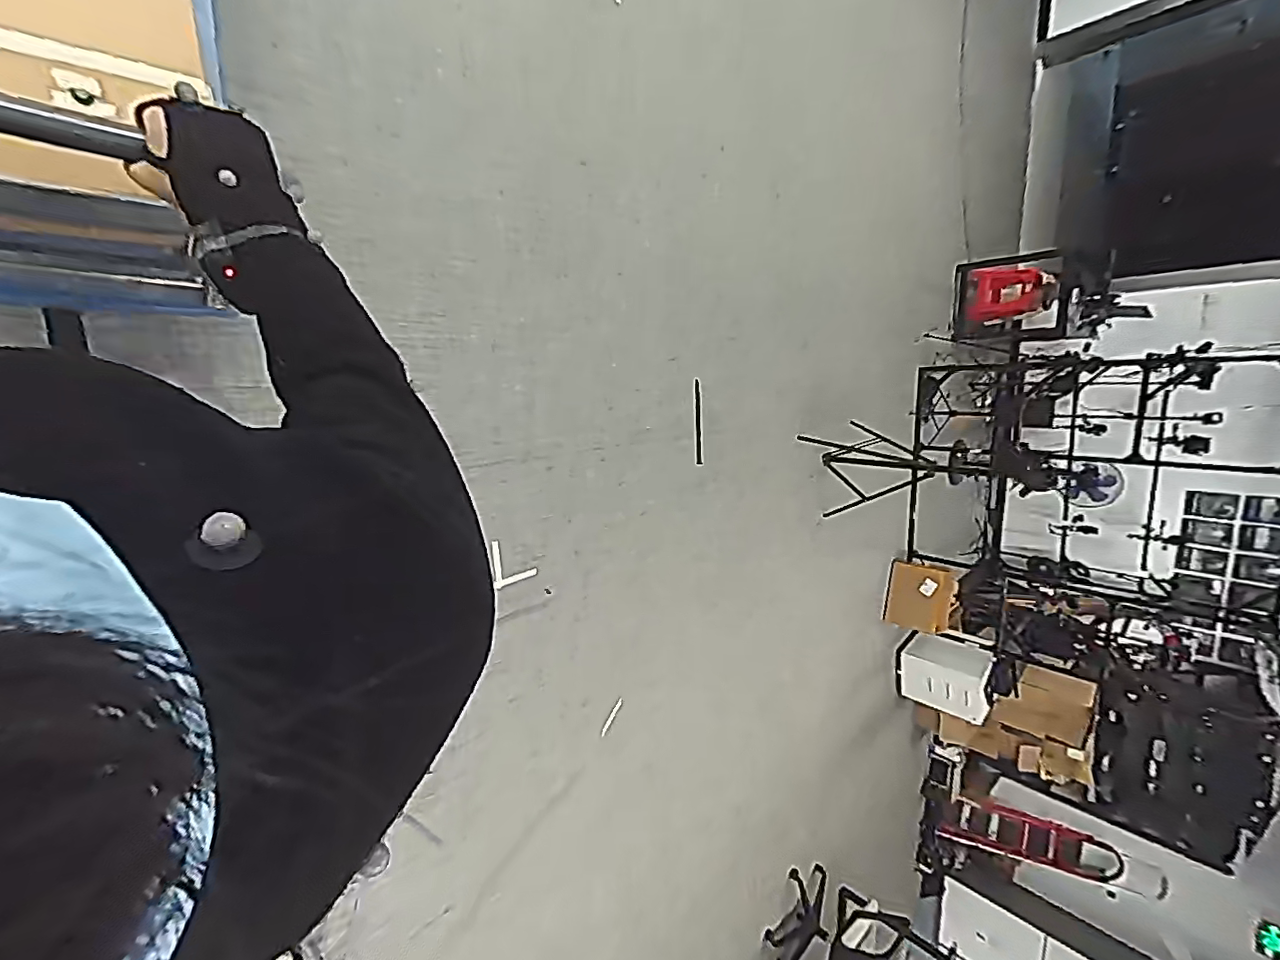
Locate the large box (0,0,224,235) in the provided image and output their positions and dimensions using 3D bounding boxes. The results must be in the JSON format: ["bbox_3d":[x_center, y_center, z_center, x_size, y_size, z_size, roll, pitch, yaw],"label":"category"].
[{"bbox_3d":[-0.873,-0.551,0.743,0.408,0.320,0.320,-14,107,-44],"label":"large box"}]
